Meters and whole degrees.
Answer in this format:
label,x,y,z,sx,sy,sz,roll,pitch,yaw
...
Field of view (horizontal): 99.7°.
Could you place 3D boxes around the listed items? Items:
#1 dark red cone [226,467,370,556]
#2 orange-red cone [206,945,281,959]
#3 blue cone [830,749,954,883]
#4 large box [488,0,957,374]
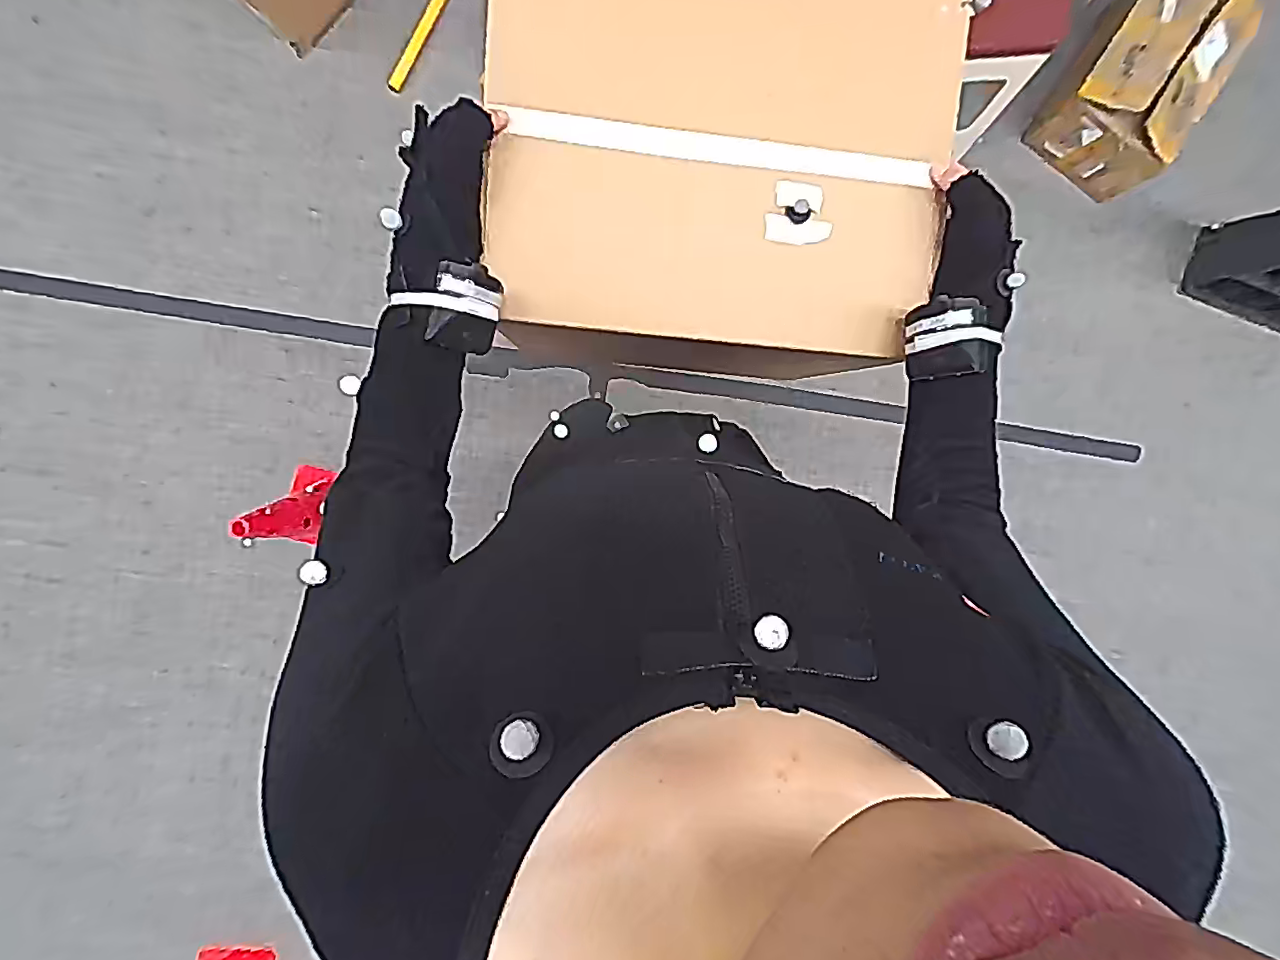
label,x,y,z,sx,sy,sz,roll,pitch,yaw
dark red cone,-0.788,0.086,1.216,0.201,0.394,0.202,14,92,-6
orange-red cone,-1.055,1.357,1.276,0.198,0.360,0.199,6,93,-4
blue cone,0.667,0.885,1.405,0.192,0.380,0.193,12,92,-6
large box,0.057,-0.300,0.615,0.408,0.320,0.320,4,97,-7
